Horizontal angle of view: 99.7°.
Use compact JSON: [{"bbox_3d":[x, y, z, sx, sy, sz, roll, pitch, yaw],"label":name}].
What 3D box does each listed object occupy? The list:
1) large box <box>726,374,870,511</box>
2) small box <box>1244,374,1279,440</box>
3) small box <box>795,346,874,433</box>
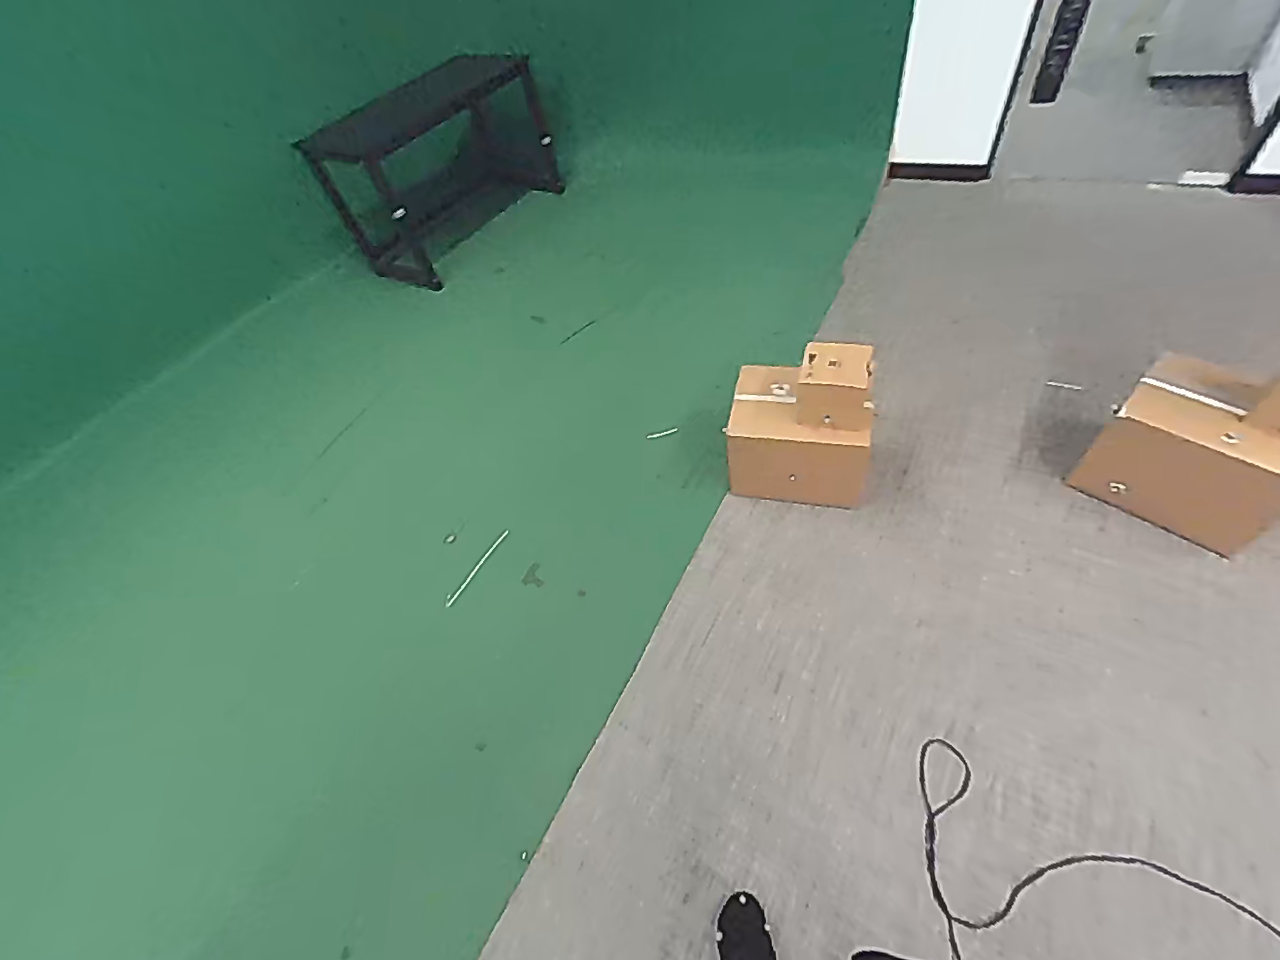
[{"bbox_3d":[0.511,-0.121,1.740,0.408,0.320,0.320,5,52,18],"label":"large box"},{"bbox_3d":[1.562,-0.190,1.236,0.179,0.176,0.168,-38,53,-19],"label":"small box"},{"bbox_3d":[0.542,-0.249,1.515,0.179,0.176,0.168,10,55,20],"label":"small box"}]
